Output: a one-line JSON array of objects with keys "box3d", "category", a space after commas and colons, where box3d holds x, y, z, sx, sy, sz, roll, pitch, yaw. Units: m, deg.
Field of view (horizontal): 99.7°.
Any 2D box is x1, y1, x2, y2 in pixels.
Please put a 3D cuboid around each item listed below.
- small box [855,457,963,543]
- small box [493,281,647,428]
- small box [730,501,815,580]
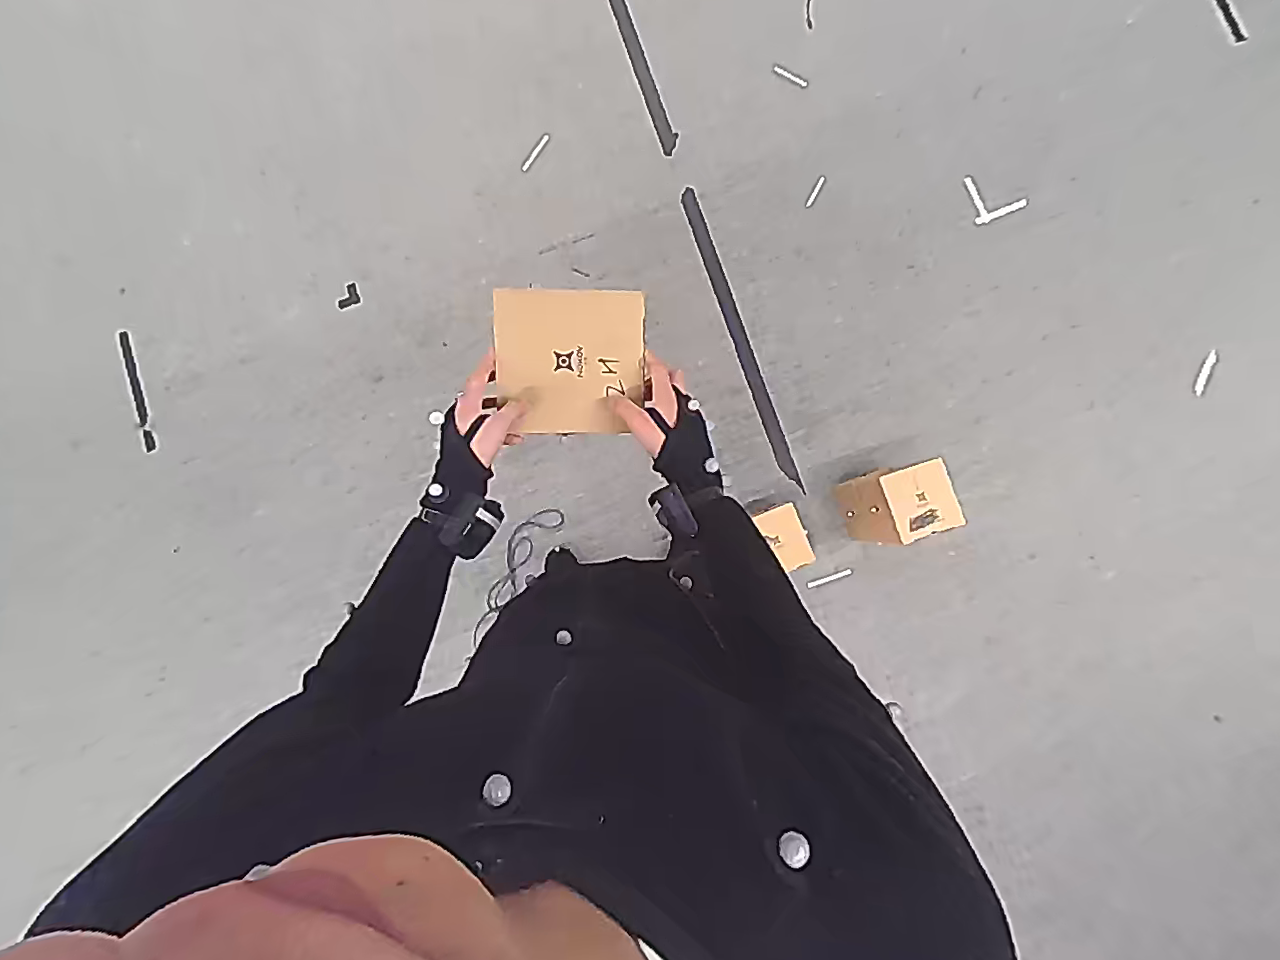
[{"box3d": [0.685, 0.053, 1.396, 0.168, 0.176, 0.179, -18, 85, -1], "category": "small box"}, {"box3d": [-0.086, -0.152, 0.702, 0.179, 0.176, 0.168, -1, 97, -6], "category": "small box"}, {"box3d": [0.374, 0.172, 1.558, 0.168, 0.176, 0.179, -22, 86, -1], "category": "small box"}]
